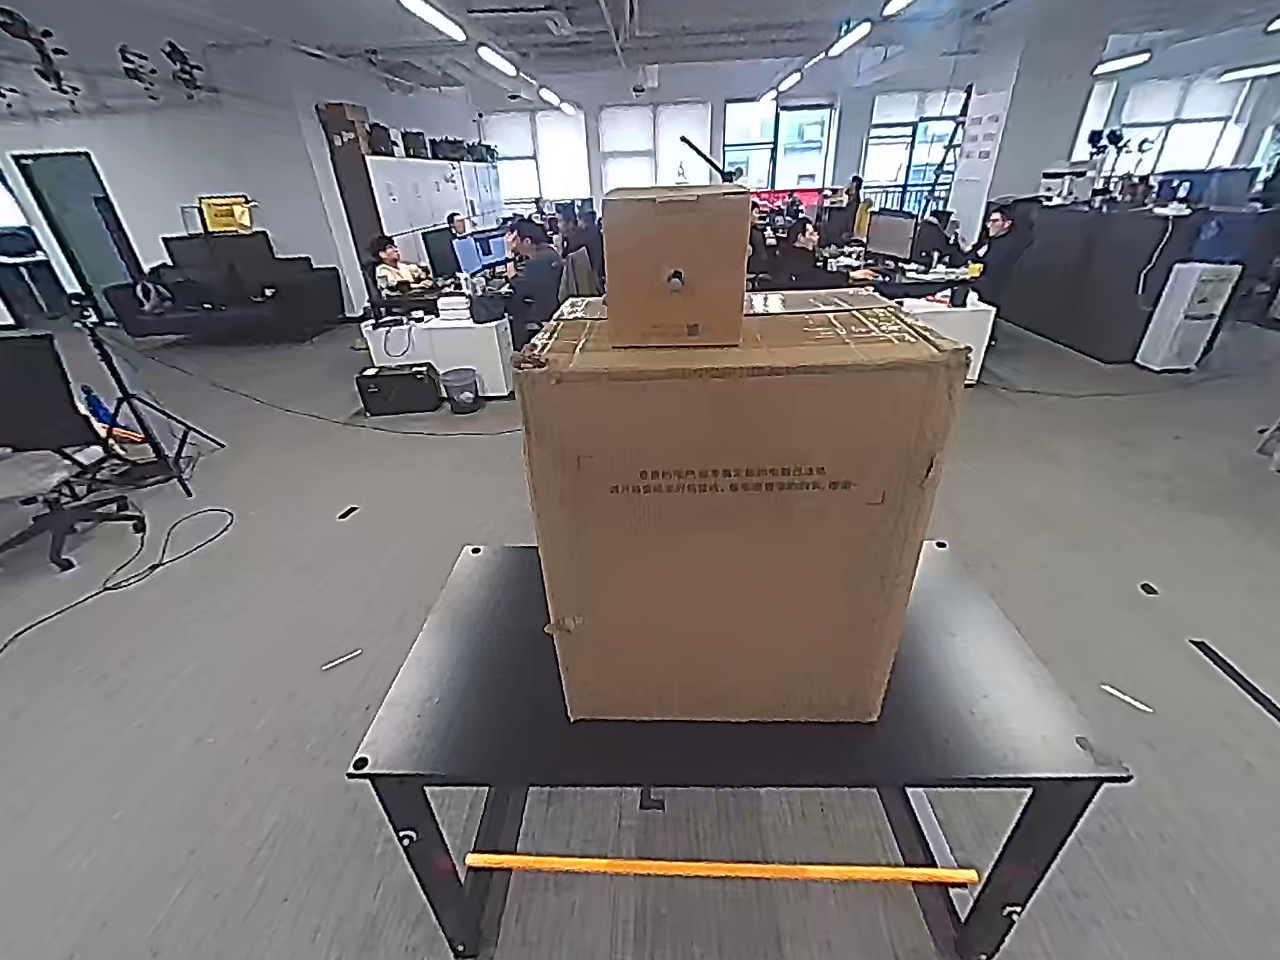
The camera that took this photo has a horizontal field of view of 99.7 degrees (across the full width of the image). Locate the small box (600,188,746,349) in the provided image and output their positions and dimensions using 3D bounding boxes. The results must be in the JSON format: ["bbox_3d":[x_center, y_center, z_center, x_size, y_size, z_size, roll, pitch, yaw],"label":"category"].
[{"bbox_3d":[0.044,-0.276,0.706,0.168,0.176,0.179,0,32,3],"label":"small box"}]
